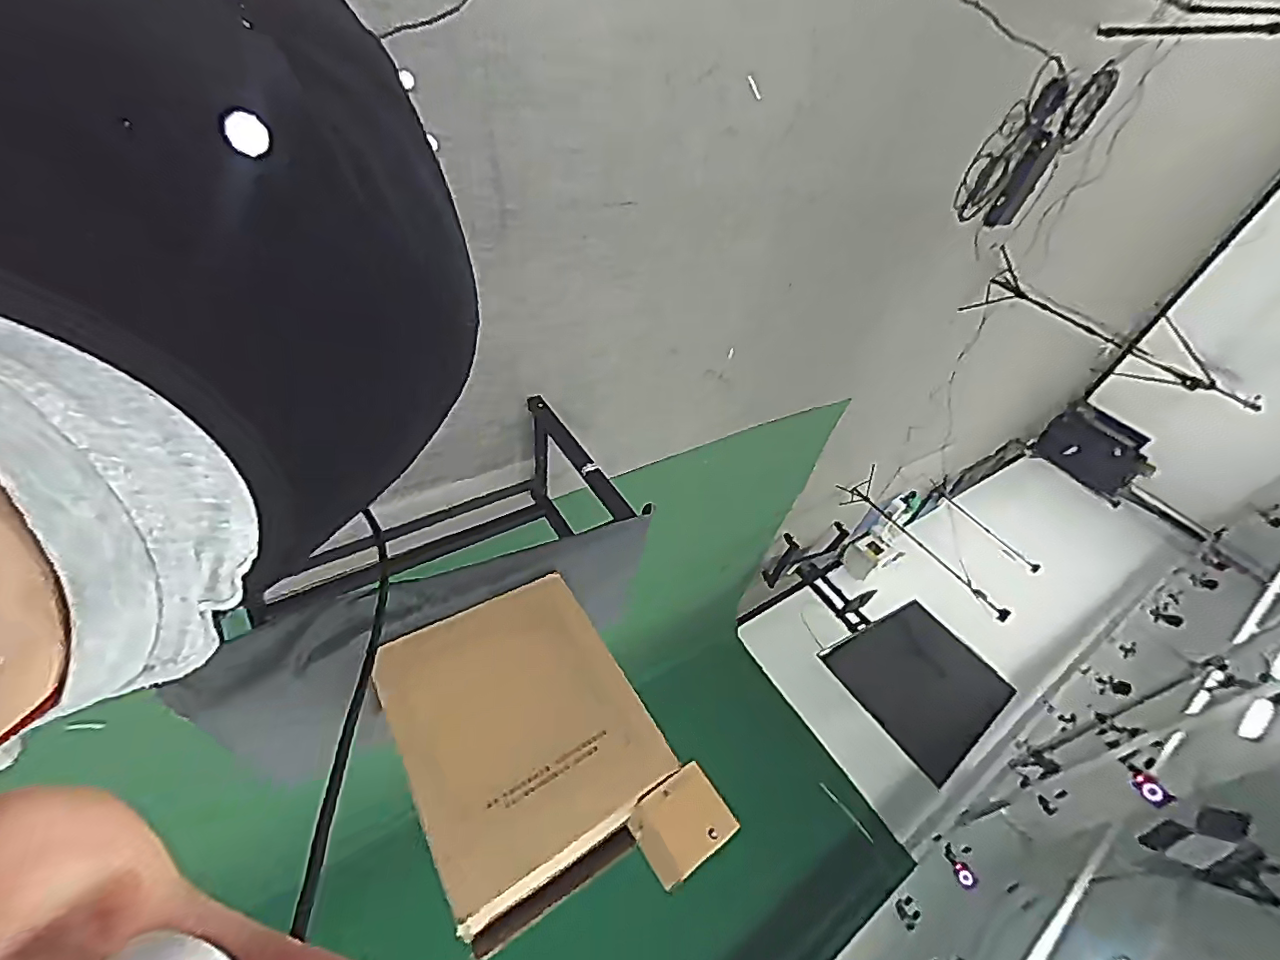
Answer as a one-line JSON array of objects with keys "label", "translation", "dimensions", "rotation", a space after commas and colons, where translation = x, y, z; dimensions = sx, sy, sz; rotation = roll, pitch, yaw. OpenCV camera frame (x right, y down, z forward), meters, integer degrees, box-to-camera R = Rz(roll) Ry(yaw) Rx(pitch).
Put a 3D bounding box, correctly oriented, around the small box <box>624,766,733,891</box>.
[{"label": "small box", "translation": [0.082, 0.805, 1.260], "dimensions": [0.168, 0.176, 0.179], "rotation": [-22, 144, -33]}]
